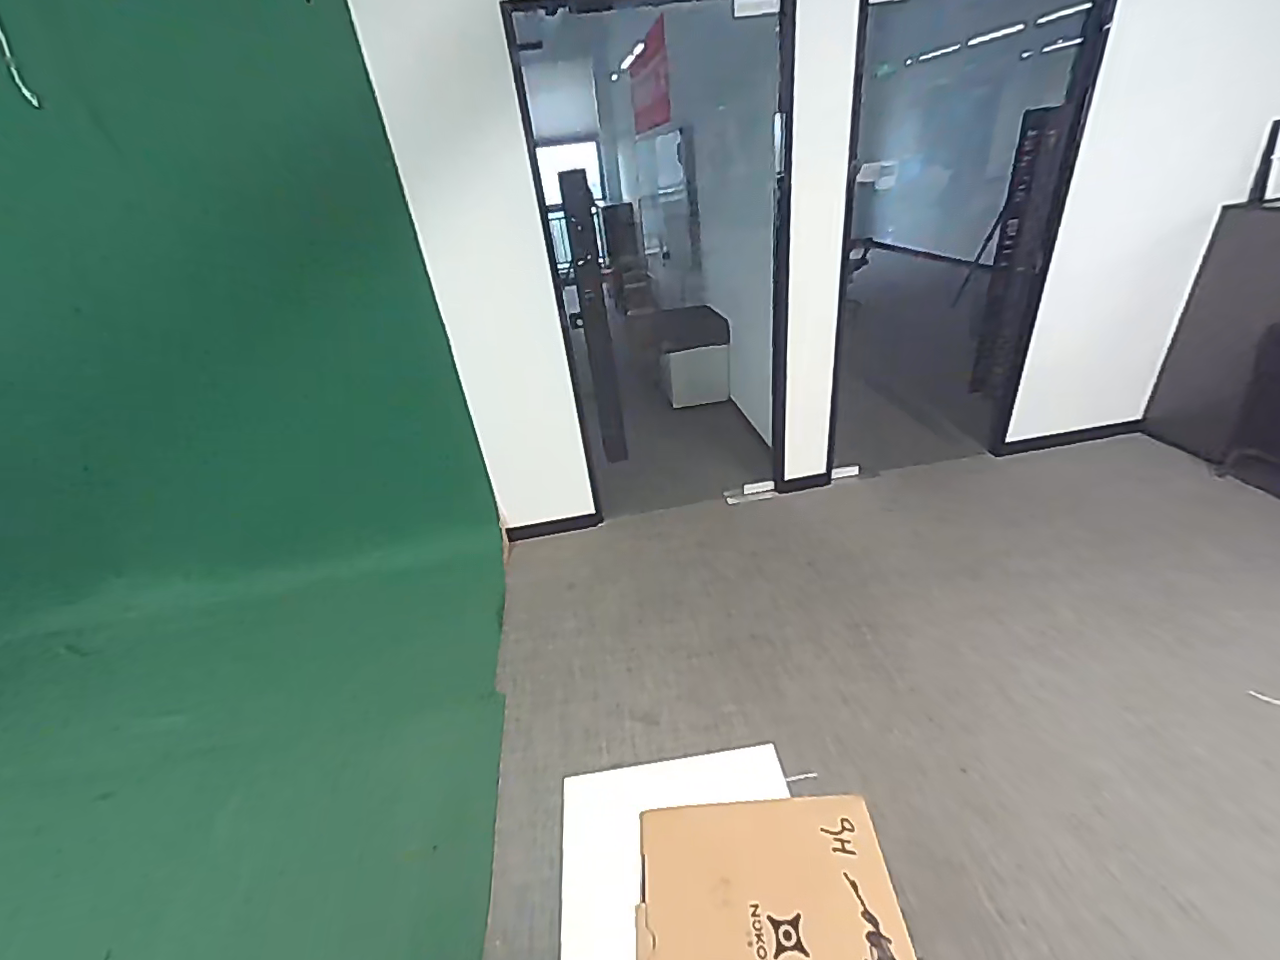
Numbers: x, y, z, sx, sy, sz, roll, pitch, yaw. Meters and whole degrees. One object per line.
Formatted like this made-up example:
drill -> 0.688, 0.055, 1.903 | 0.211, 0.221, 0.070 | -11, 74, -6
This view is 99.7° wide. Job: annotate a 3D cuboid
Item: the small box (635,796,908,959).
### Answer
small box -> 0.093, 0.366, 0.408 | 0.179, 0.176, 0.168 | -5, 38, 2
